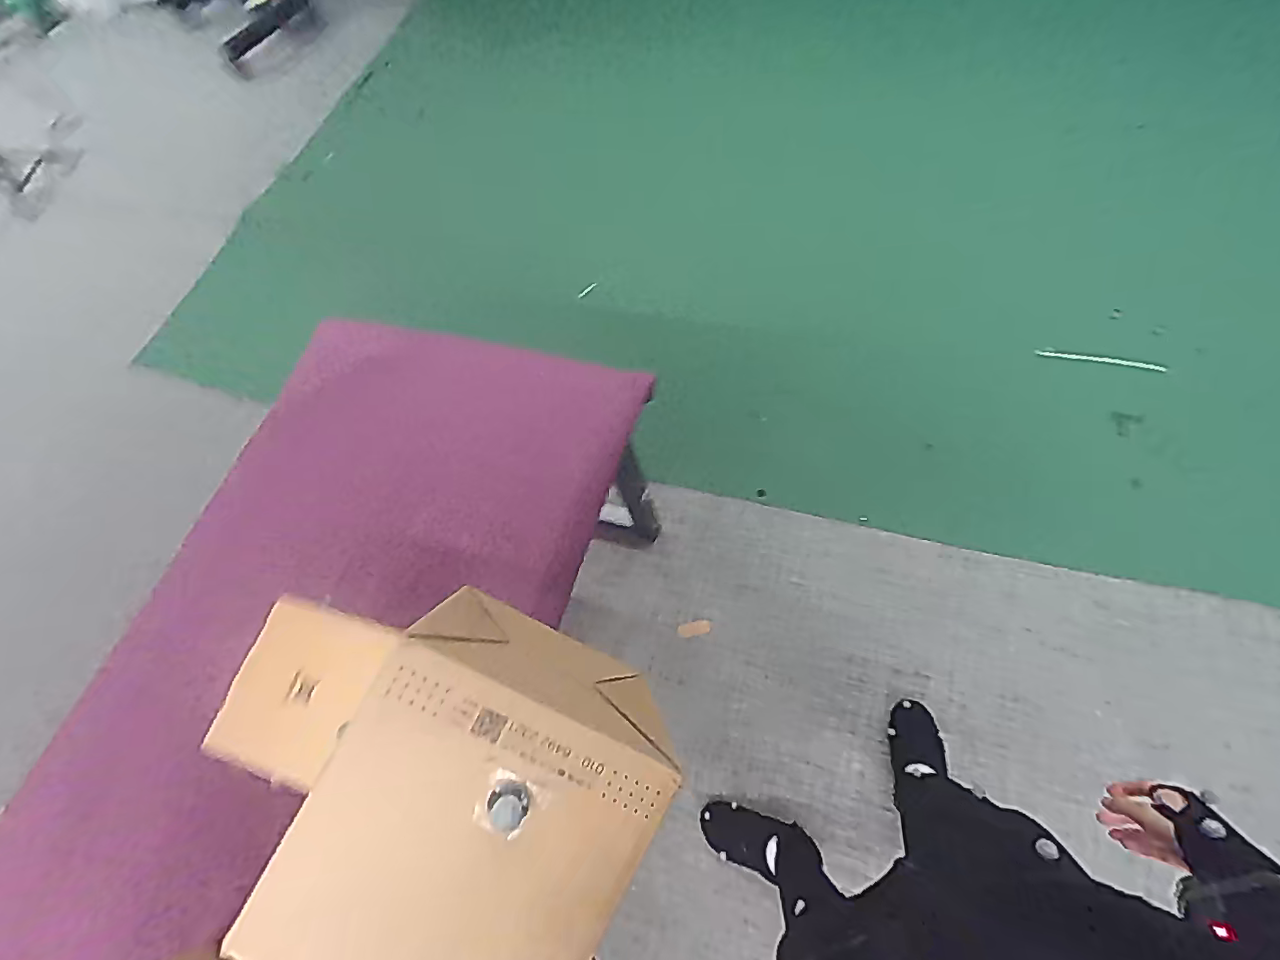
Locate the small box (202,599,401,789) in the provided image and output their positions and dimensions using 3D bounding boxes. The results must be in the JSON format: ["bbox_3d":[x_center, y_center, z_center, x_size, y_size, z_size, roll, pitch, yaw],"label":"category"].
[{"bbox_3d":[-0.353,0.259,0.655,0.179,0.176,0.168,10,67,16],"label":"small box"}]
